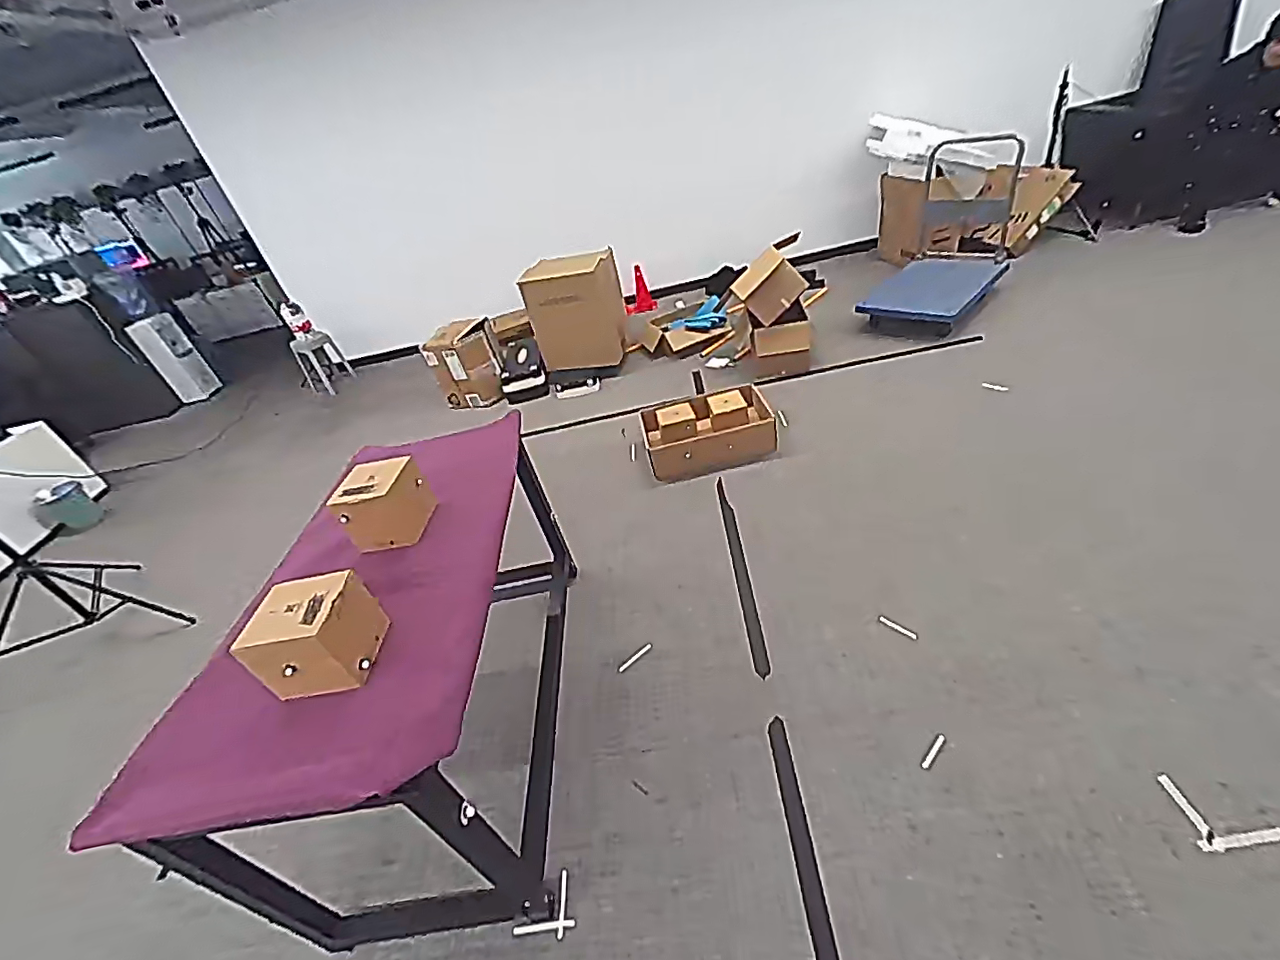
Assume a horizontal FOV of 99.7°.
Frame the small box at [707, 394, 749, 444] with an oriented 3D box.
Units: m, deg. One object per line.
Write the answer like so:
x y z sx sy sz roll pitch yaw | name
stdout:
0.442 -0.306 2.706 0.168 0.176 0.179 -14 35 2 | small box

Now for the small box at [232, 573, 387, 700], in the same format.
-0.645 0.315 1.086 0.179 0.176 0.168 -11 35 6 | small box

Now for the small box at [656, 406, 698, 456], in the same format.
0.189 -0.246 2.714 0.179 0.176 0.168 -14 34 0 | small box
